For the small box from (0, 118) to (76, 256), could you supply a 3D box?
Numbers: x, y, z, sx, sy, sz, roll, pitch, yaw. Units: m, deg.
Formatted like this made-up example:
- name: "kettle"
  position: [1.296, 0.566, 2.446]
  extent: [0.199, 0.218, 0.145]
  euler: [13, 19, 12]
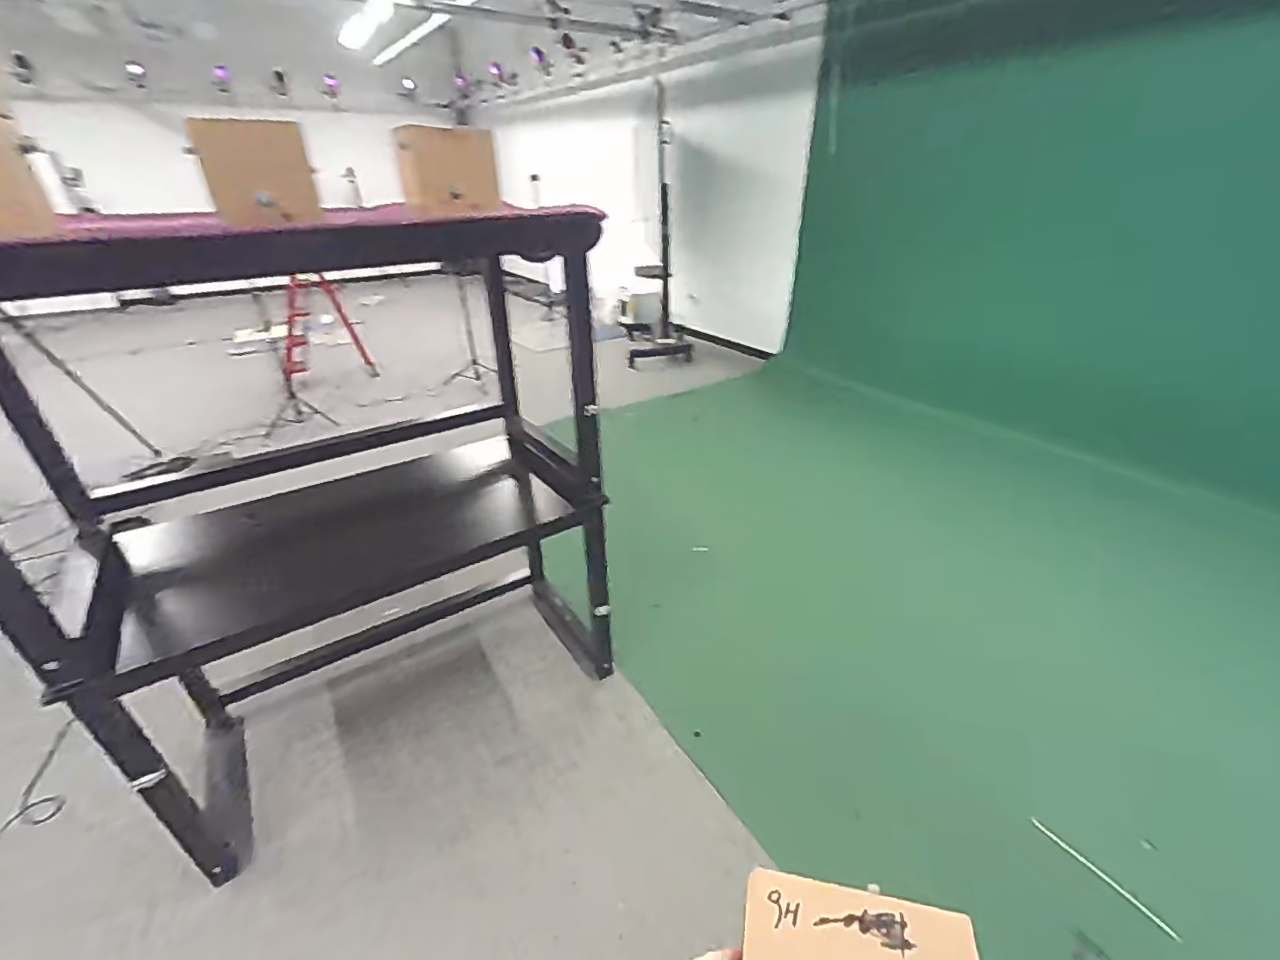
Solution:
- name: "small box"
  position: [-0.967, -0.417, 0.774]
  extent: [0.168, 0.176, 0.179]
  euler: [-20, 34, -29]

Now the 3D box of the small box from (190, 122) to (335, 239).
- name: "small box"
  position: [-0.668, -0.532, 0.967]
  extent: [0.168, 0.176, 0.179]
  euler: [-19, 36, -28]

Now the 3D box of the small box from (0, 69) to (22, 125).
- name: "small box"
  position: [-0.968, -0.559, 0.695]
  extent: [0.168, 0.176, 0.179]
  euler: [-19, 34, -27]

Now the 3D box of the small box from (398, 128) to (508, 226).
- name: "small box"
  position: [-0.391, -0.632, 1.134]
  extent: [0.168, 0.176, 0.179]
  euler: [-19, 36, -27]
